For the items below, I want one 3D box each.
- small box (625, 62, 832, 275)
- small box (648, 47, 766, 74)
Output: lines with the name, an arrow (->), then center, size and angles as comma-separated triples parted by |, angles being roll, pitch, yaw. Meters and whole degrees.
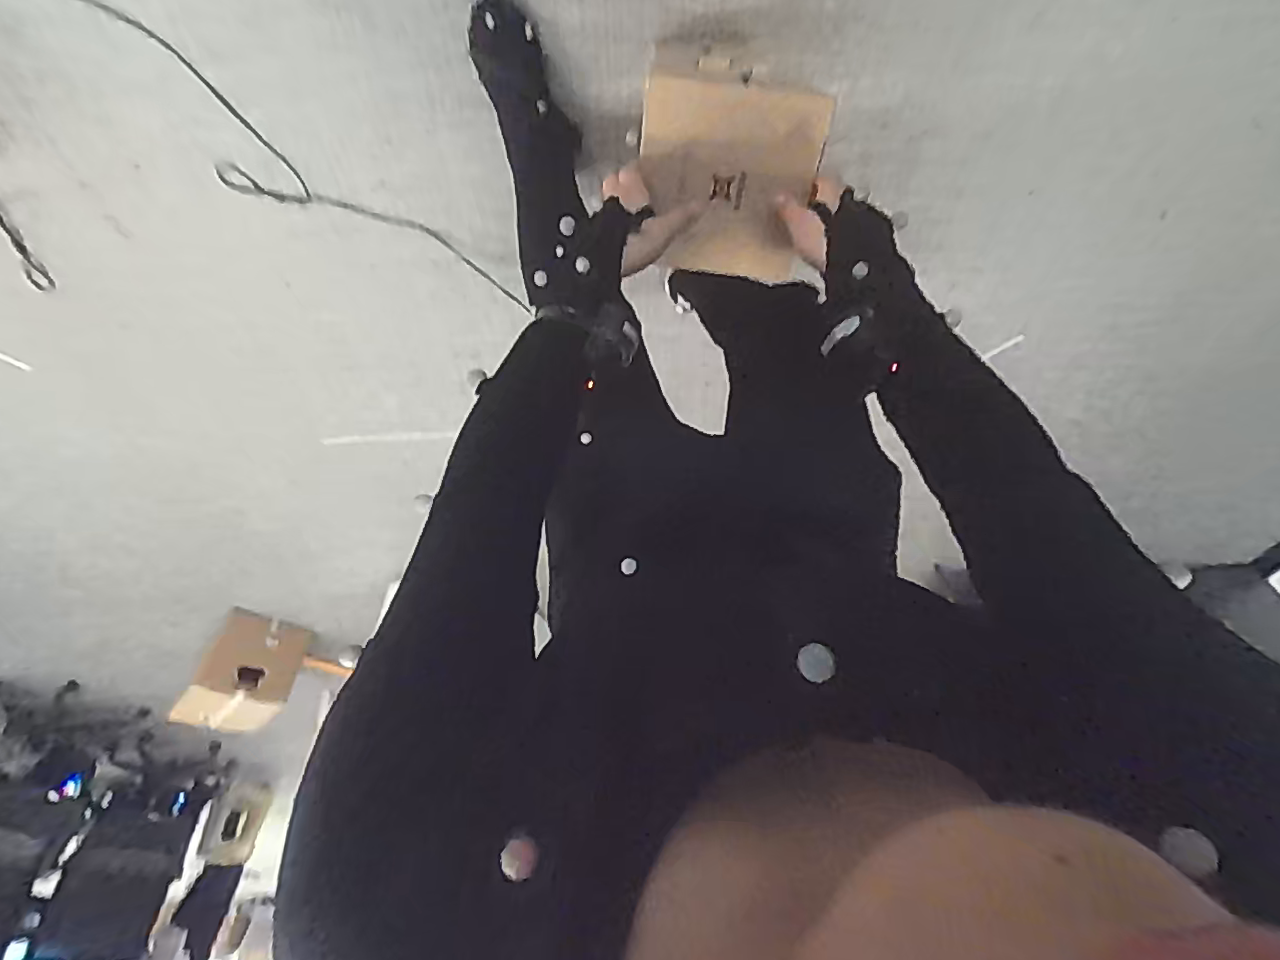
small box -> 0.079, -0.340, 0.586 | 0.179, 0.176, 0.168 | 5, 129, -2
small box -> 0.099, -0.601, 0.899 | 0.168, 0.176, 0.179 | -2, 136, -1
